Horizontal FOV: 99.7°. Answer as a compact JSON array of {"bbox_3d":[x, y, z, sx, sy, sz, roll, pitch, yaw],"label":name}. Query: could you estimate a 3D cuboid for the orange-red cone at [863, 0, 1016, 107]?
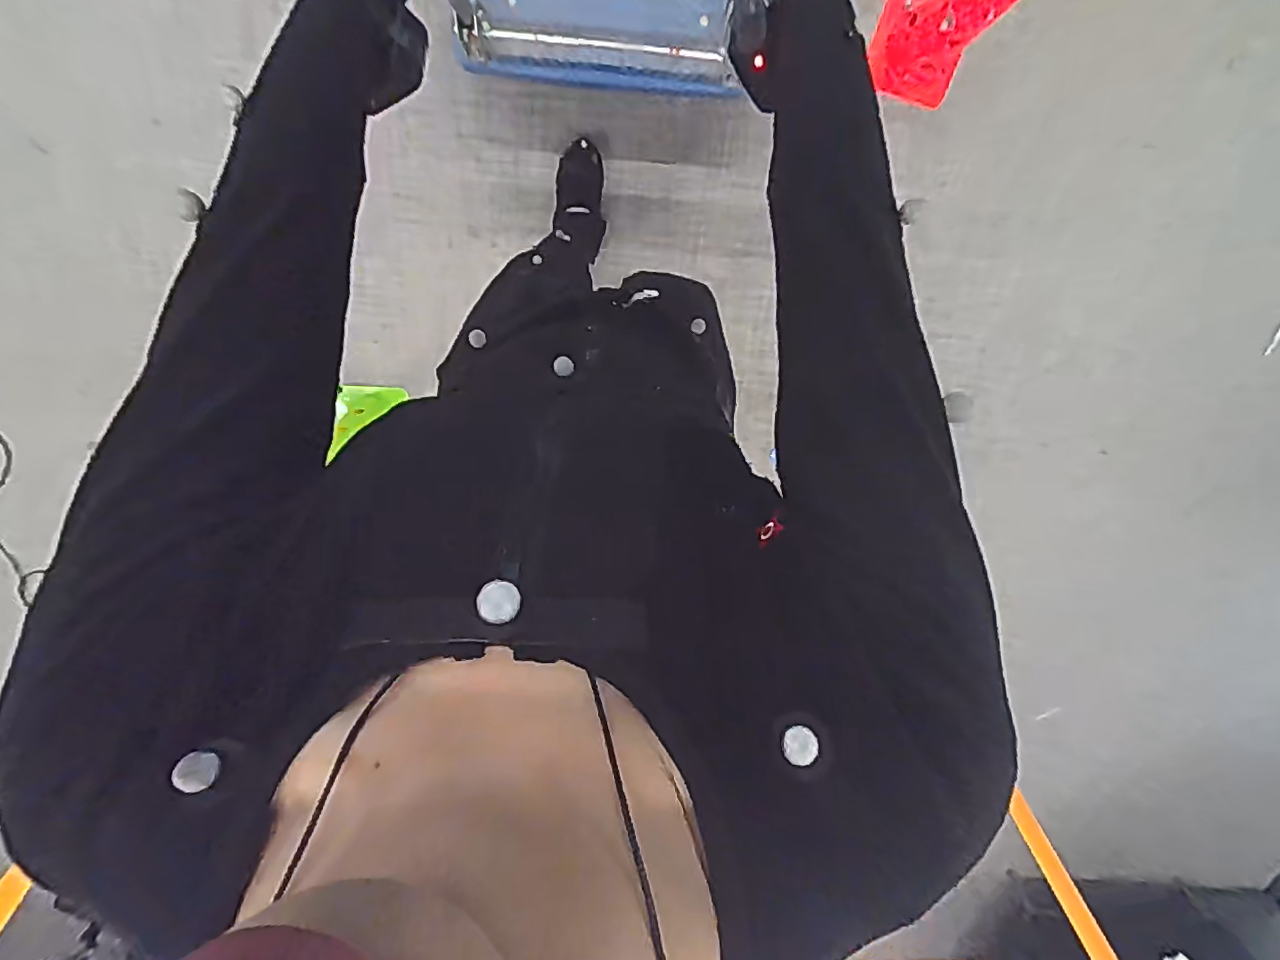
[{"bbox_3d":[0.596,-0.854,0.992,0.198,0.360,0.199,14,115,-7],"label":"orange-red cone"}]
